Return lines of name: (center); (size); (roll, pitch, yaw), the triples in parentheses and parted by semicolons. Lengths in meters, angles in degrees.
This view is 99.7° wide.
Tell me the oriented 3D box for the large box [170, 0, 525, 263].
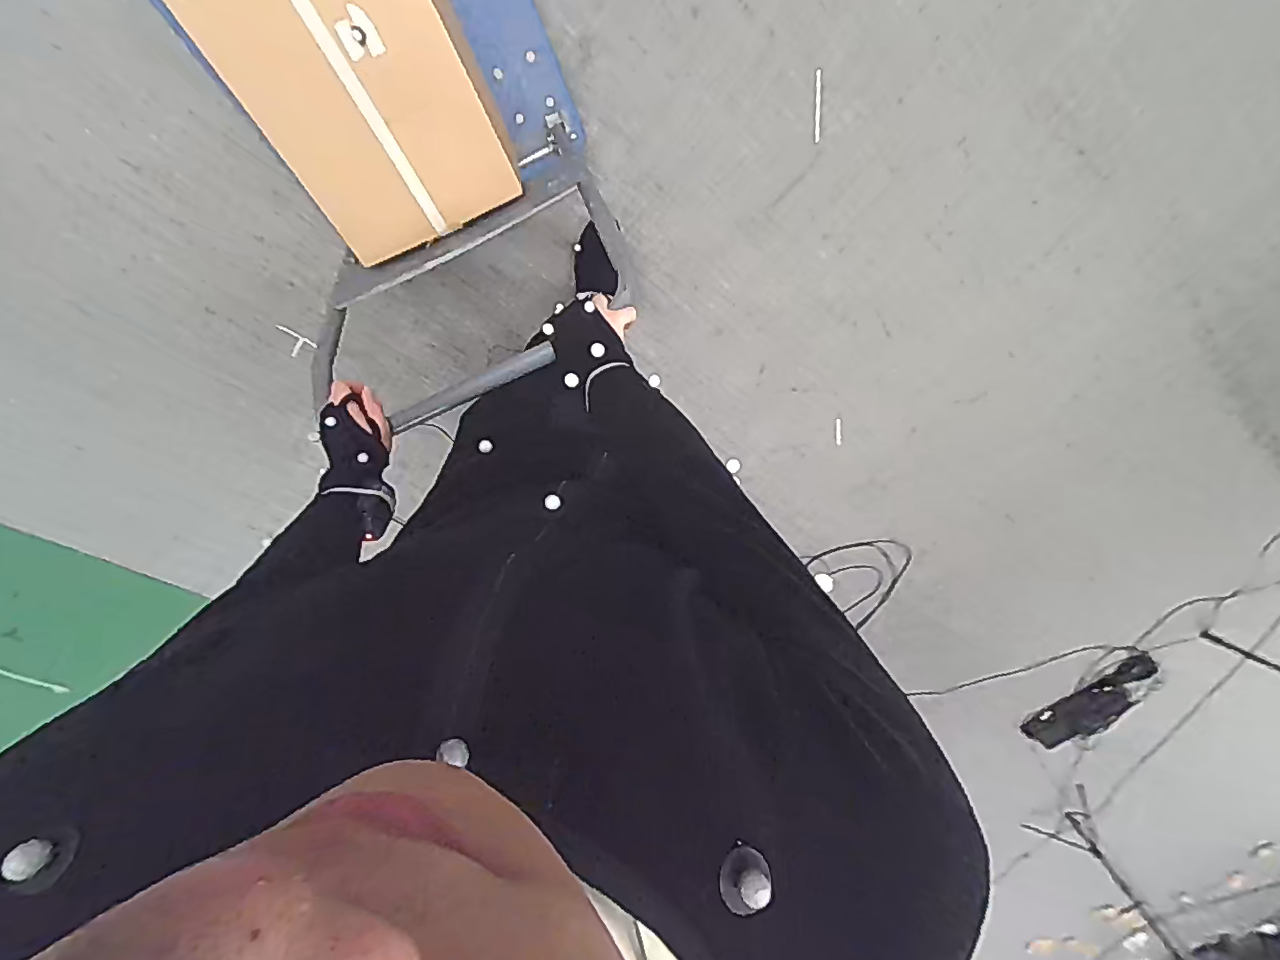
large box: (-0.426, -0.659, 0.903); (0.320, 0.320, 0.408); (-23, 134, 6)
